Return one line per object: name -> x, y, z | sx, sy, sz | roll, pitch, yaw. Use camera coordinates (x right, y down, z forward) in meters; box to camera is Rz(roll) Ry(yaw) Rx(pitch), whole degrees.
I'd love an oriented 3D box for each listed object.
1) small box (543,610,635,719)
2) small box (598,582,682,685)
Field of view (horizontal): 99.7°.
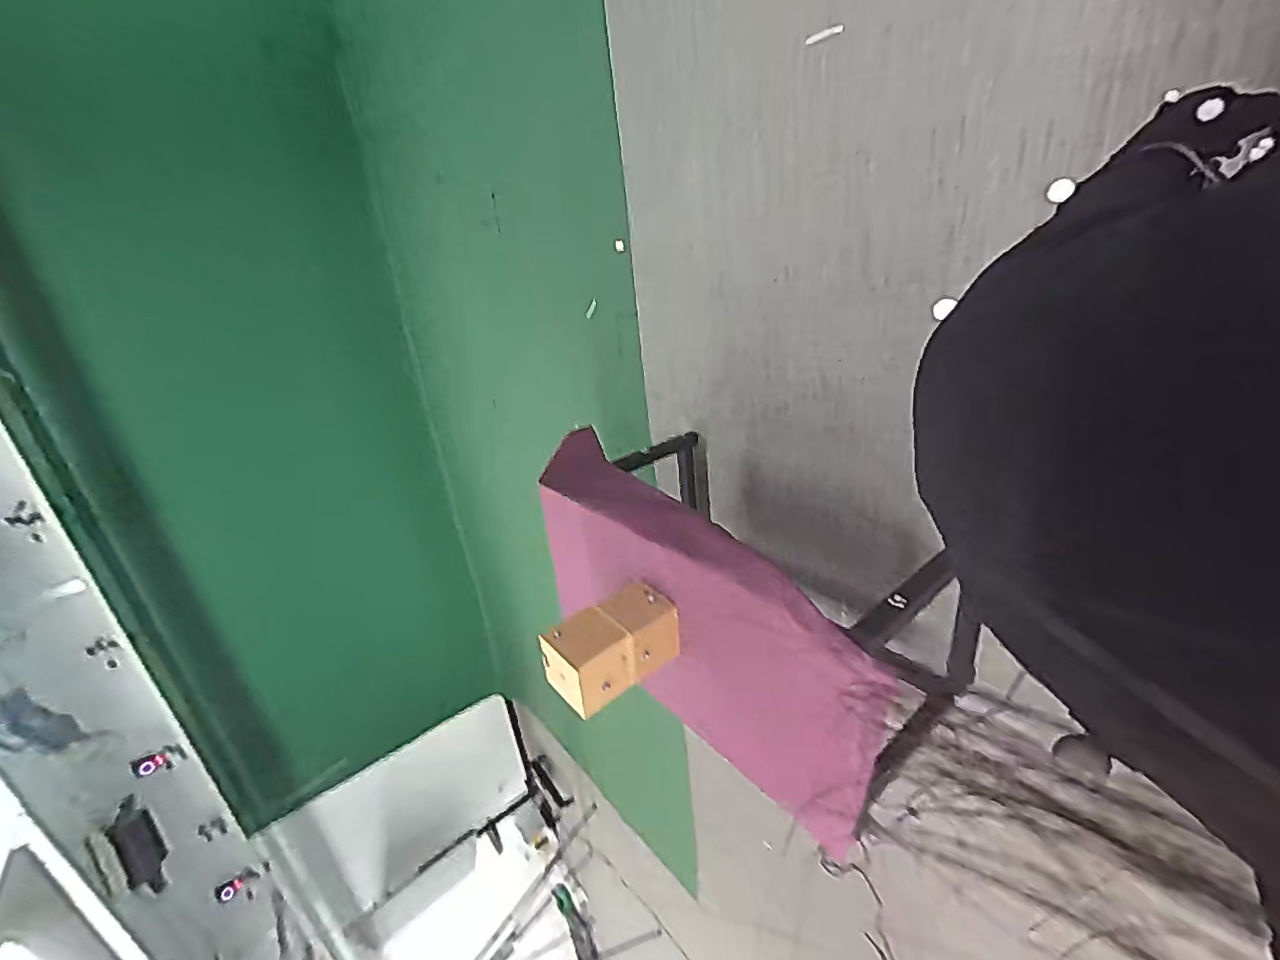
small box -> -0.124, 0.467, 1.401 | 0.179, 0.176, 0.168 | 25, 128, 45
small box -> 0.004, 0.414, 1.485 | 0.168, 0.176, 0.179 | 26, 129, 43
